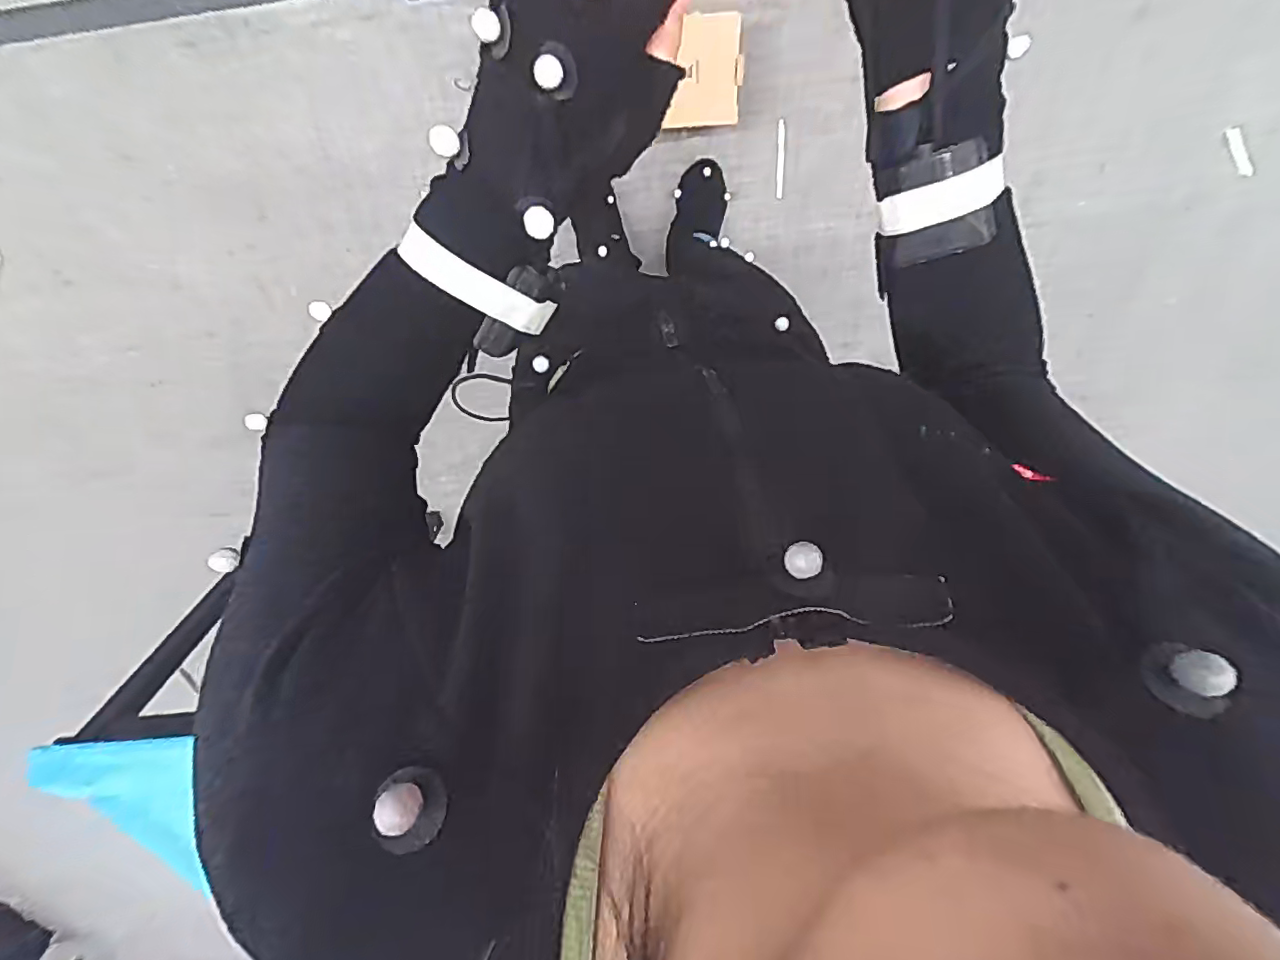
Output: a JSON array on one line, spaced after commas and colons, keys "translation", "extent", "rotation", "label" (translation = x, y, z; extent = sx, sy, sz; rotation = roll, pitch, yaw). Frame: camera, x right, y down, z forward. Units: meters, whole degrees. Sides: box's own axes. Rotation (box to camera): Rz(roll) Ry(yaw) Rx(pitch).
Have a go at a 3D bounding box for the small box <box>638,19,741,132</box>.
[{"translation": [0.089, -0.781, 1.055], "extent": [0.179, 0.176, 0.168], "rotation": [-3, 122, -1], "label": "small box"}]
